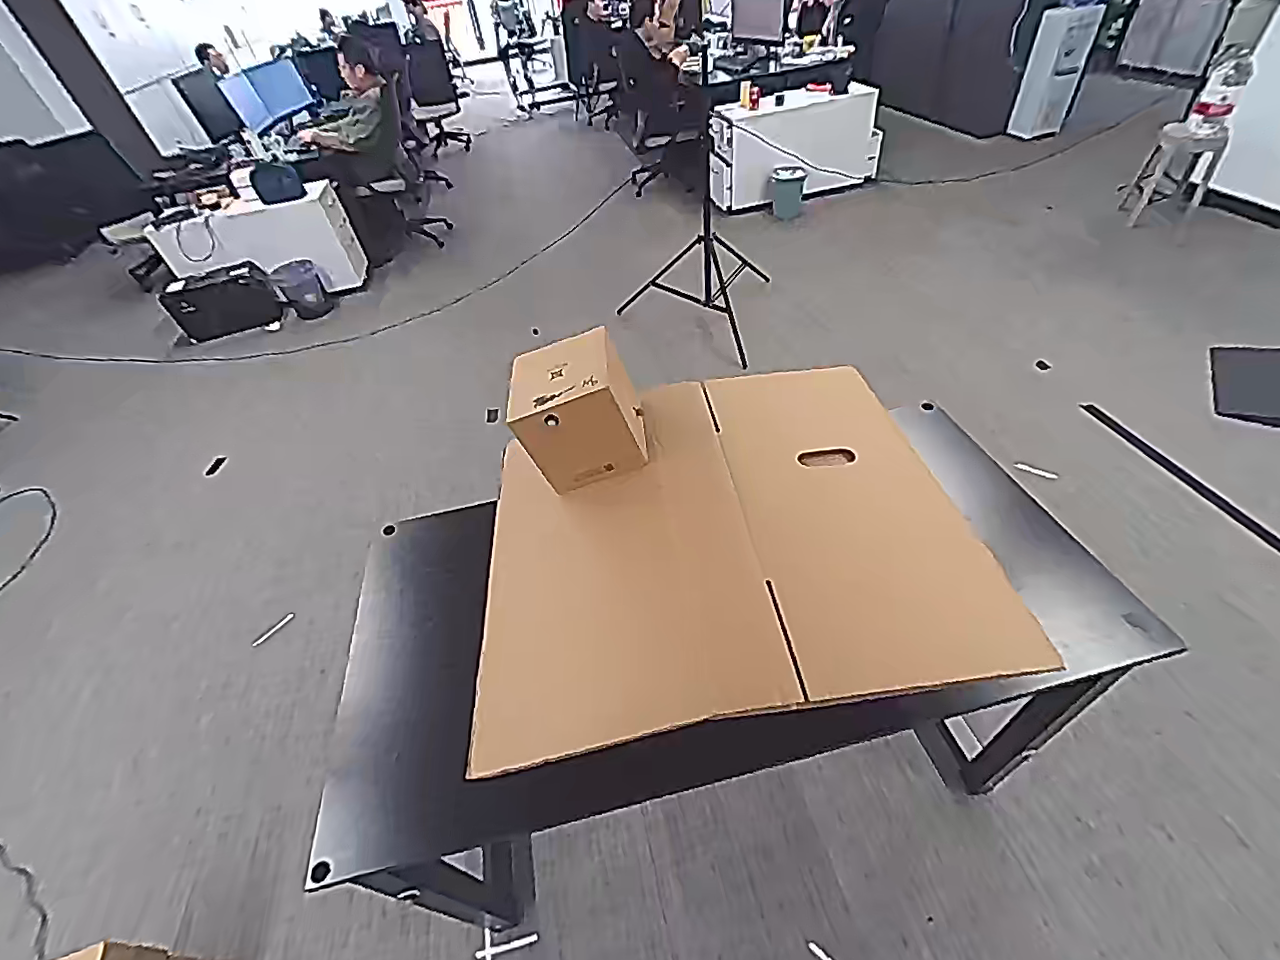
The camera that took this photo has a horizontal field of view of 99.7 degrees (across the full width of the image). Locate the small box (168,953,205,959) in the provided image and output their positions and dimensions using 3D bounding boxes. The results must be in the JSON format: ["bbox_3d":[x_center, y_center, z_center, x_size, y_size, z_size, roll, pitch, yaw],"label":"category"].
[{"bbox_3d":[-0.992,1.100,1.090,0.168,0.176,0.179,-16,46,-7],"label":"small box"}]

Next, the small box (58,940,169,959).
[{"bbox_3d":[-1.014,0.982,0.980,0.168,0.176,0.179,-17,44,-10],"label":"small box"}]

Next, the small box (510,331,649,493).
[{"bbox_3d":[-0.093,-0.110,0.892,0.168,0.176,0.179,-18,43,11],"label":"small box"}]
